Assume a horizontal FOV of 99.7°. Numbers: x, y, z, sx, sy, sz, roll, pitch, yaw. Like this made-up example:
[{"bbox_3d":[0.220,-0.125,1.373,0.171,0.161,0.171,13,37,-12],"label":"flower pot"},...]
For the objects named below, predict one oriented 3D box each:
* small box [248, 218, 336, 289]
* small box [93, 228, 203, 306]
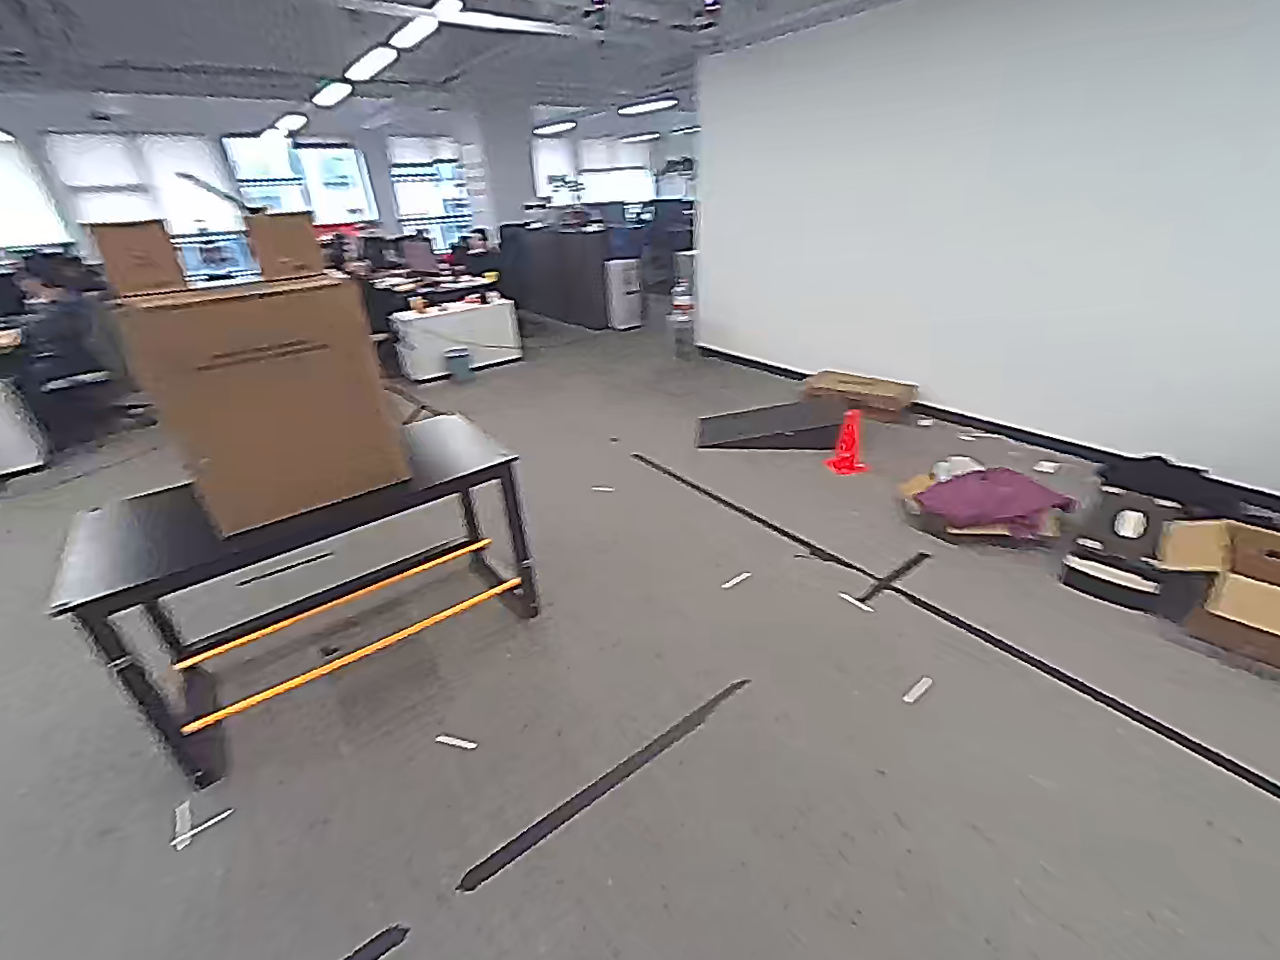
[{"bbox_3d":[-1.011,-0.659,1.573,0.168,0.176,0.179,-24,33,-28],"label":"small box"},{"bbox_3d":[-1.276,-0.556,1.410,0.168,0.176,0.179,-24,34,-35],"label":"small box"}]
